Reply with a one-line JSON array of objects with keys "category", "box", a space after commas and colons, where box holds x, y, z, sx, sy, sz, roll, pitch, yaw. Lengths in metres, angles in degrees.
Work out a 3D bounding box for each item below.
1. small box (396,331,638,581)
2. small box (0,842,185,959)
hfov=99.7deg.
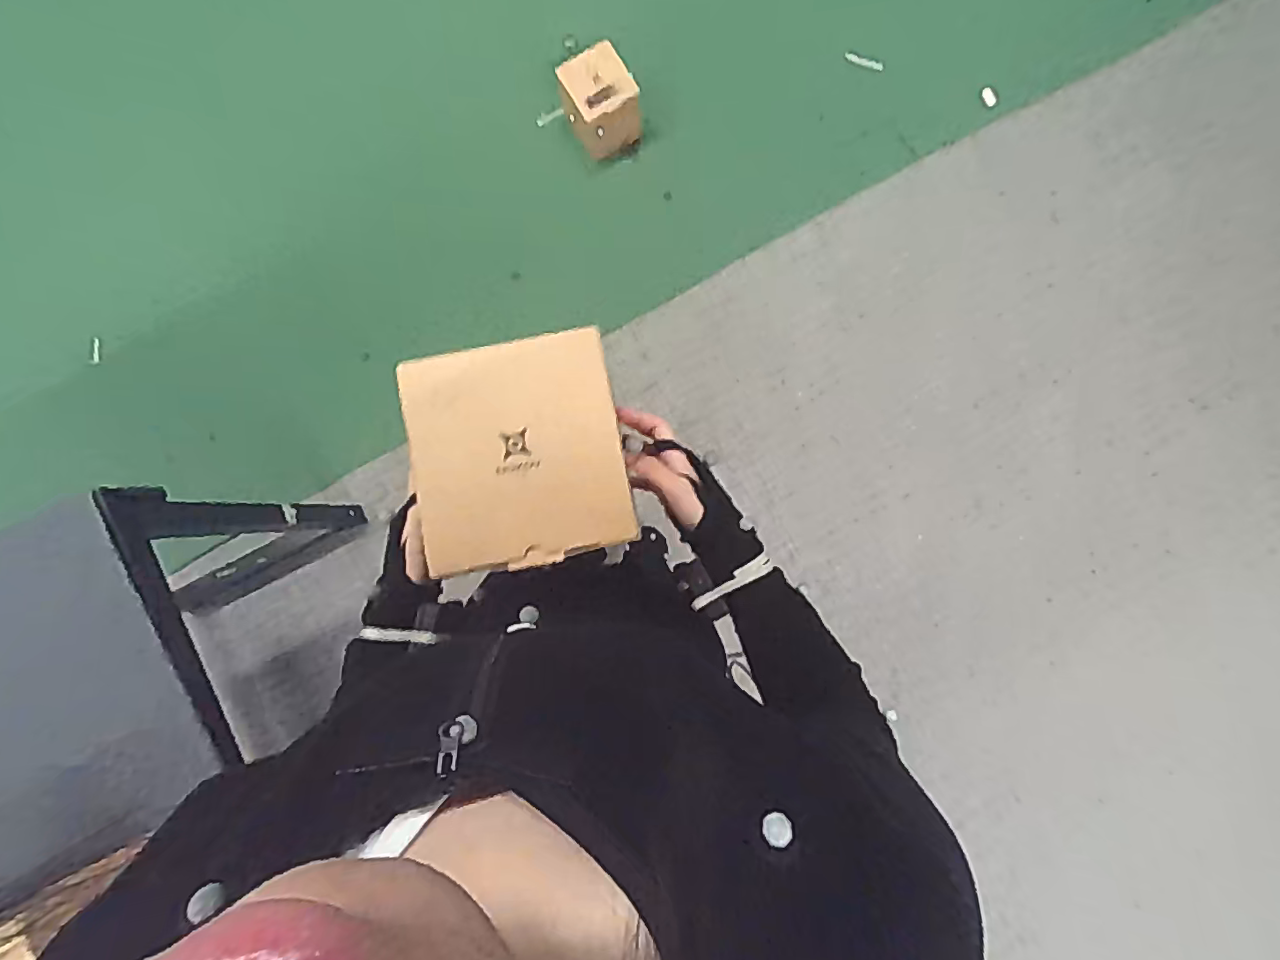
[{"category": "small box", "box": [-0.100, -0.014, 0.504, 0.168, 0.176, 0.179, -12, 86, -2]}, {"category": "small box", "box": [-0.742, 0.610, 0.678, 0.179, 0.176, 0.168, -28, 87, 0]}]
